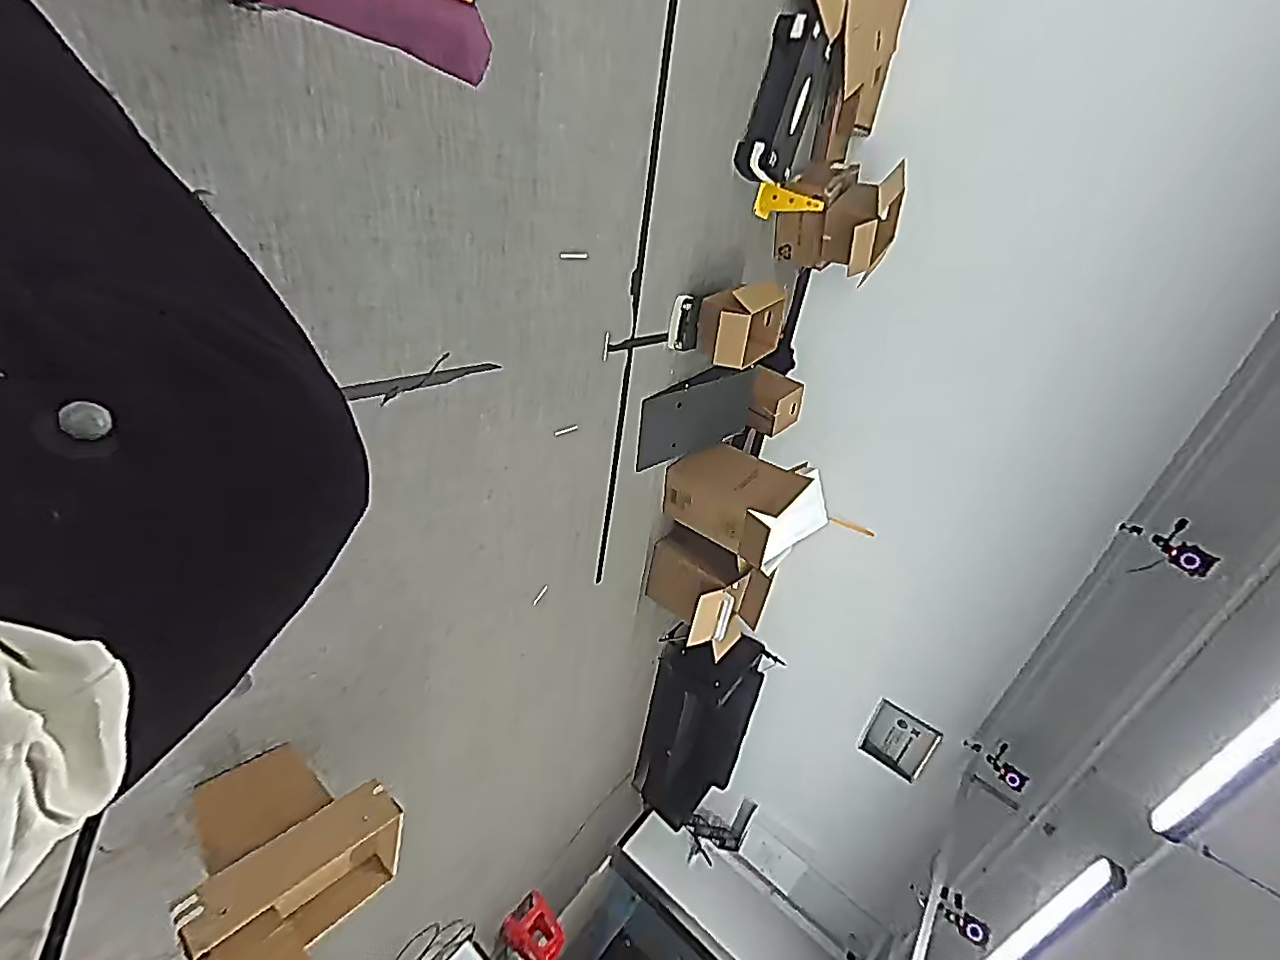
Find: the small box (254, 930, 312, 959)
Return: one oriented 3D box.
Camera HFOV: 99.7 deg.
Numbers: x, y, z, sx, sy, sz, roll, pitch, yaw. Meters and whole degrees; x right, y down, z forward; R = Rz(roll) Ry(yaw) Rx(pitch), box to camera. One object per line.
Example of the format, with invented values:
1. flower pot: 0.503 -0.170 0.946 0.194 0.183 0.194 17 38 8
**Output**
1. small box: -1.053 1.476 1.567 0.179 0.176 0.168 -21 131 -50
